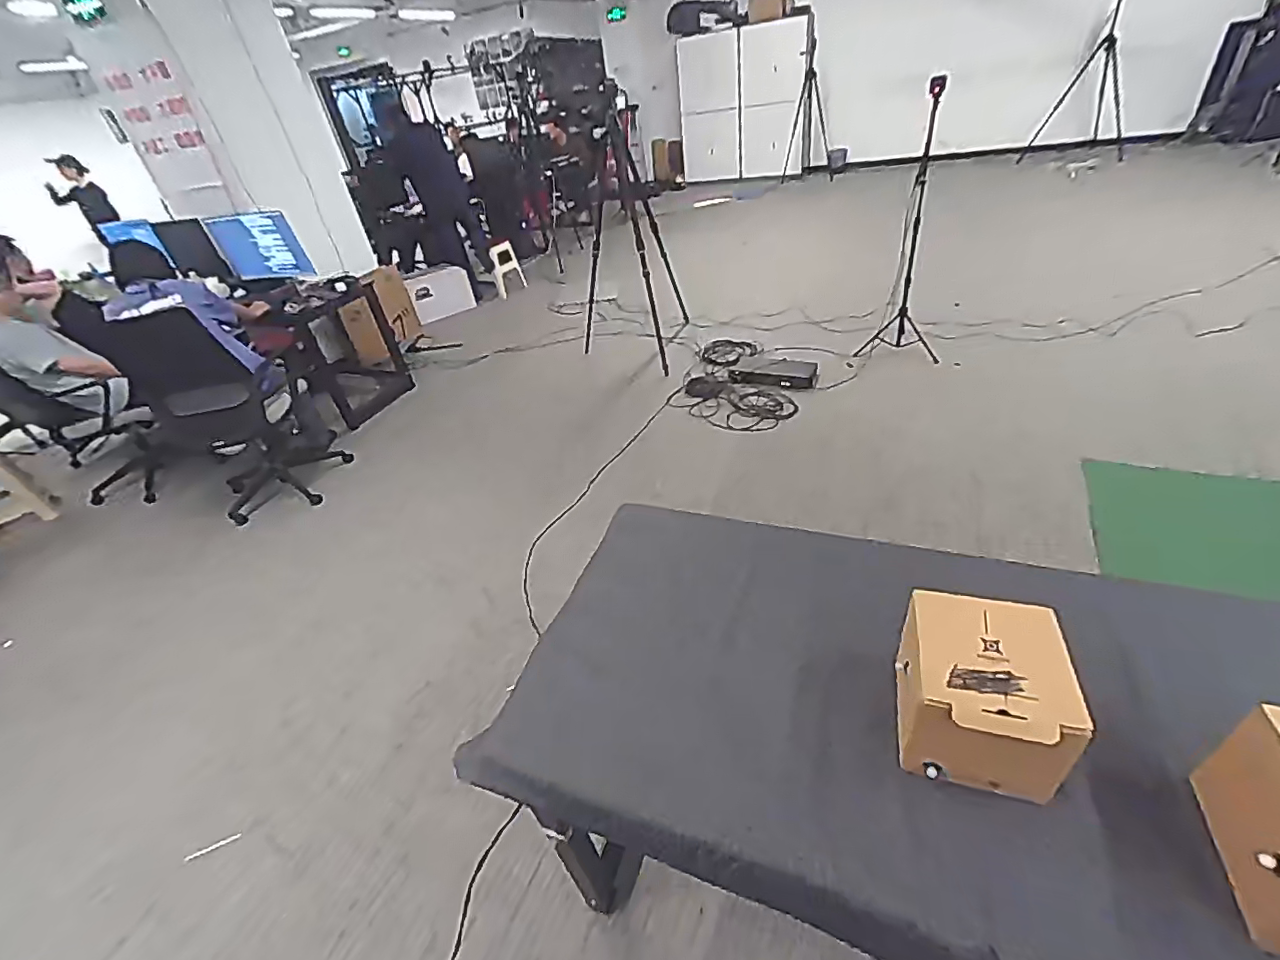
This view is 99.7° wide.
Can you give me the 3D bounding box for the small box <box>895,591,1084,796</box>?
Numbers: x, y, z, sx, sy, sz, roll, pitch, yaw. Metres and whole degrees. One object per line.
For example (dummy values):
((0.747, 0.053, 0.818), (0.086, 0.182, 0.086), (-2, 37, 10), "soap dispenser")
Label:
((0.437, 0.276, 0.709), (0.168, 0.176, 0.179), (5, 38, 19), "small box")
